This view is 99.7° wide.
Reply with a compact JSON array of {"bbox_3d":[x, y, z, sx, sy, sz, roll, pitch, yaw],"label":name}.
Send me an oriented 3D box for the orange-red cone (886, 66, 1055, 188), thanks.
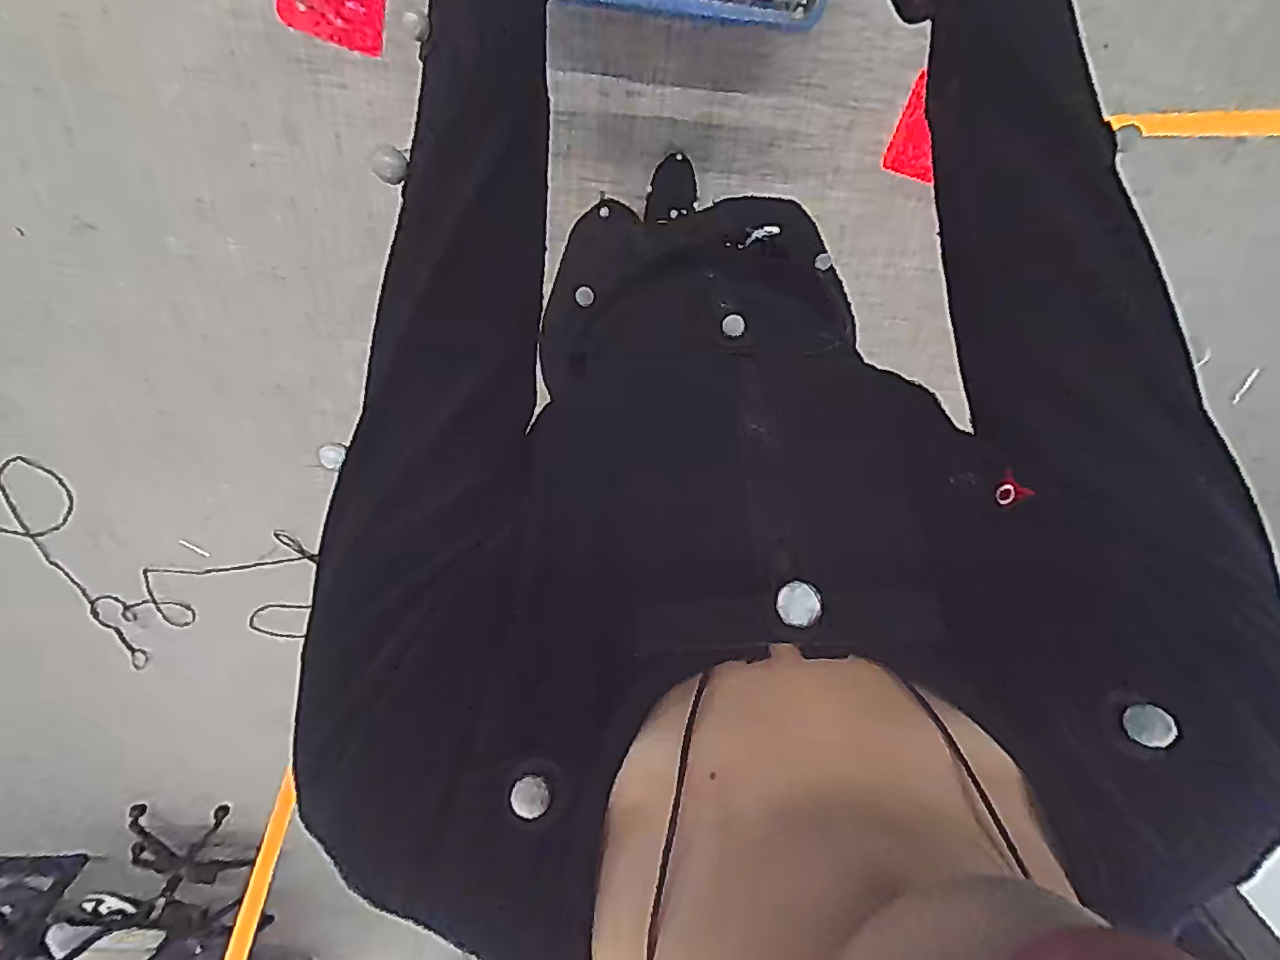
[{"bbox_3d":[0.677,-0.689,1.058,0.198,0.360,0.199,13,121,-10],"label":"orange-red cone"}]
